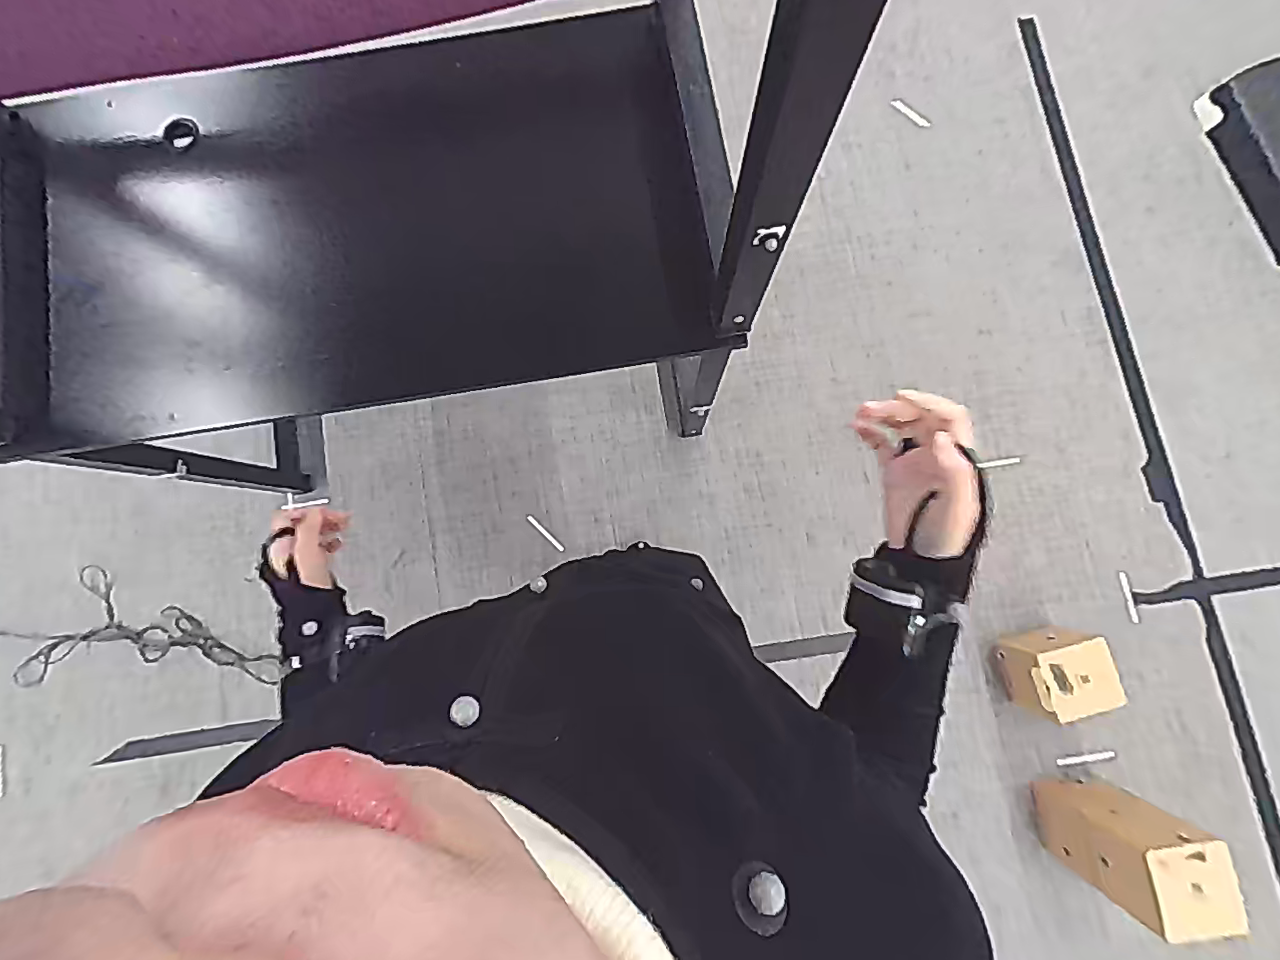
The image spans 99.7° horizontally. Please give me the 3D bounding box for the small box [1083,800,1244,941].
[{"bbox_3d":[1.107,0.826,1.158,0.168,0.176,0.179,-8,84,-1],"label":"small box"}]

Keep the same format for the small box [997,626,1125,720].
[{"bbox_3d":[1.043,0.478,1.361,0.179,0.176,0.168,-15,84,-1],"label":"small box"}]

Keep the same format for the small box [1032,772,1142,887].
[{"bbox_3d":[1.108,0.845,1.321,0.168,0.176,0.179,-7,83,0],"label":"small box"}]
